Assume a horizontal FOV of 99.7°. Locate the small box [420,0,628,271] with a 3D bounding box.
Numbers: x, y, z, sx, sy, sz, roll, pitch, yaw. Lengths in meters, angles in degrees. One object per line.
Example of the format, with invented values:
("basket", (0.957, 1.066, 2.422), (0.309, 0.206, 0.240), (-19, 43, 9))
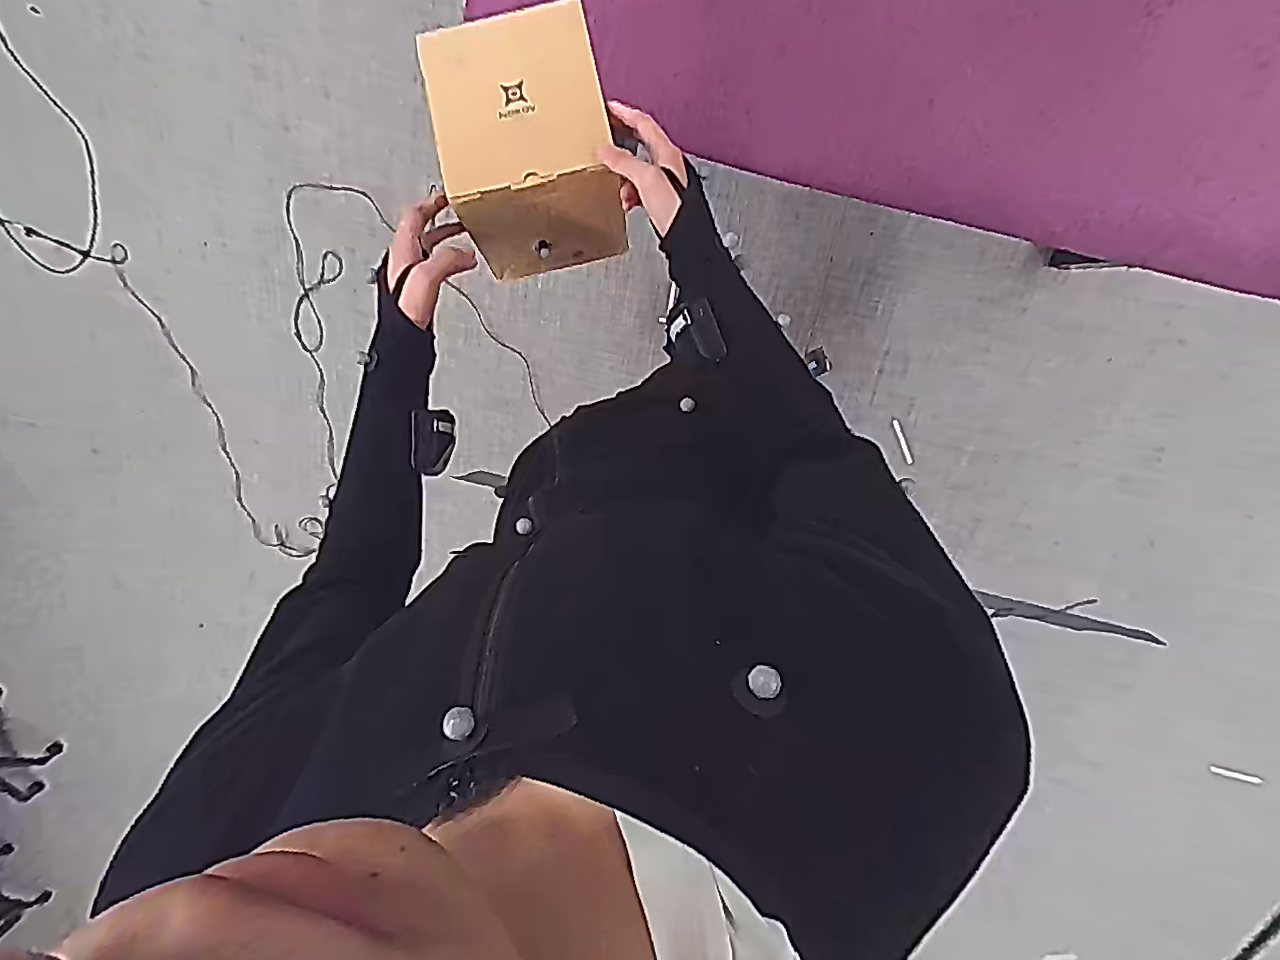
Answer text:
("small box", (-0.111, -0.358, 0.582), (0.168, 0.176, 0.179), (-13, 86, 1))
